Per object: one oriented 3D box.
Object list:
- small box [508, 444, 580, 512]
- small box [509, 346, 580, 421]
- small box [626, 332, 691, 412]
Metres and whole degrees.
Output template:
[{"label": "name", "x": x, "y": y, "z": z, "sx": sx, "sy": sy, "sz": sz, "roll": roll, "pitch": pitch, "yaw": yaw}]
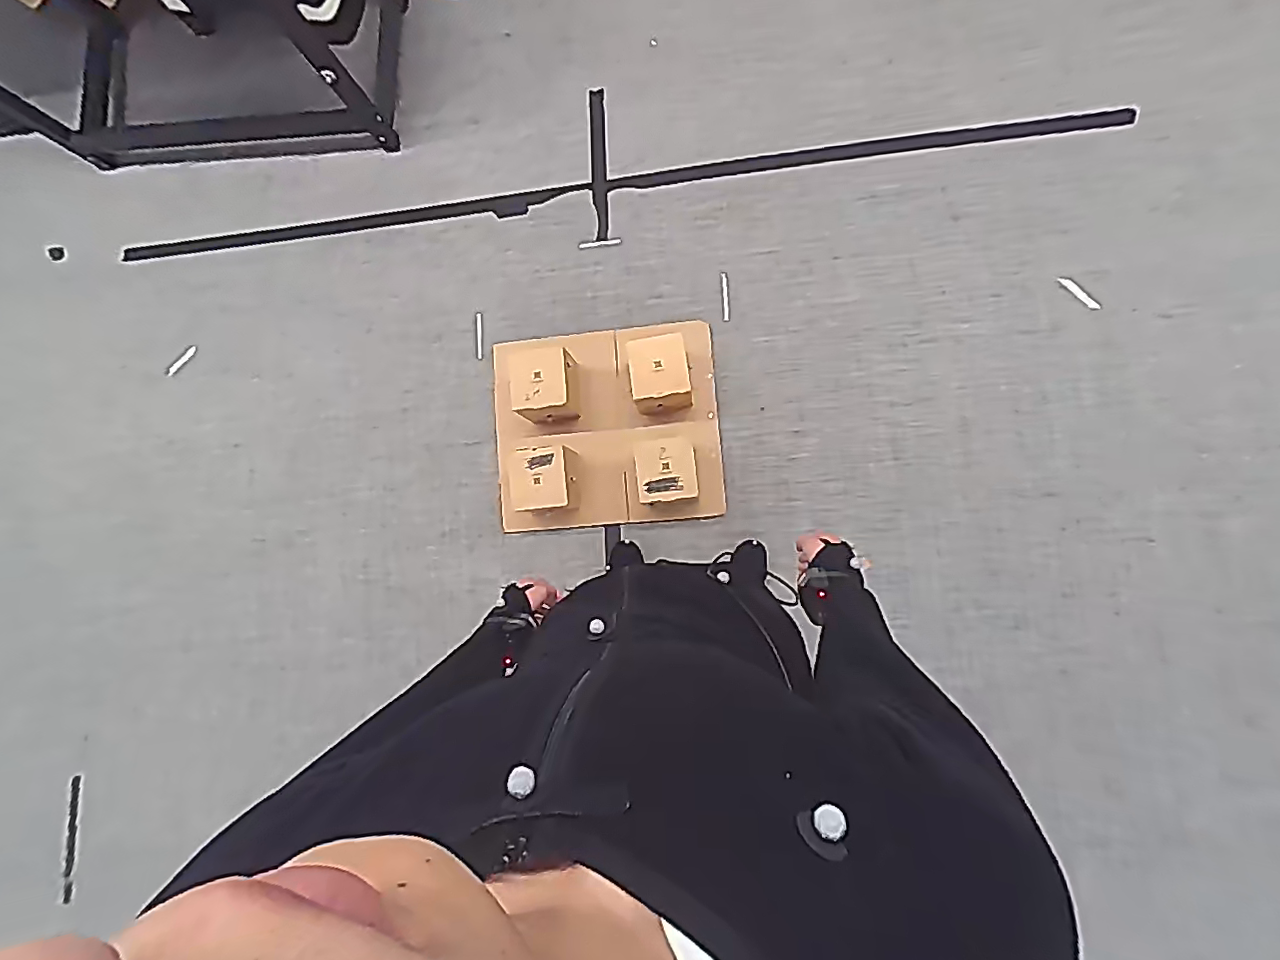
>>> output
[{"label": "small box", "x": -0.280, "y": -0.001, "z": 1.599, "sx": 0.168, "sy": 0.176, "sz": 0.179, "roll": -6, "pitch": 85, "yaw": 7}, {"label": "small box", "x": -0.283, "y": -0.285, "z": 1.623, "sx": 0.168, "sy": 0.176, "sz": 0.179, "roll": -5, "pitch": 85, "yaw": 7}, {"label": "small box", "x": 0.058, "y": -0.311, "z": 1.591, "sx": 0.168, "sy": 0.176, "sz": 0.179, "roll": -9, "pitch": 84, "yaw": 6}]
